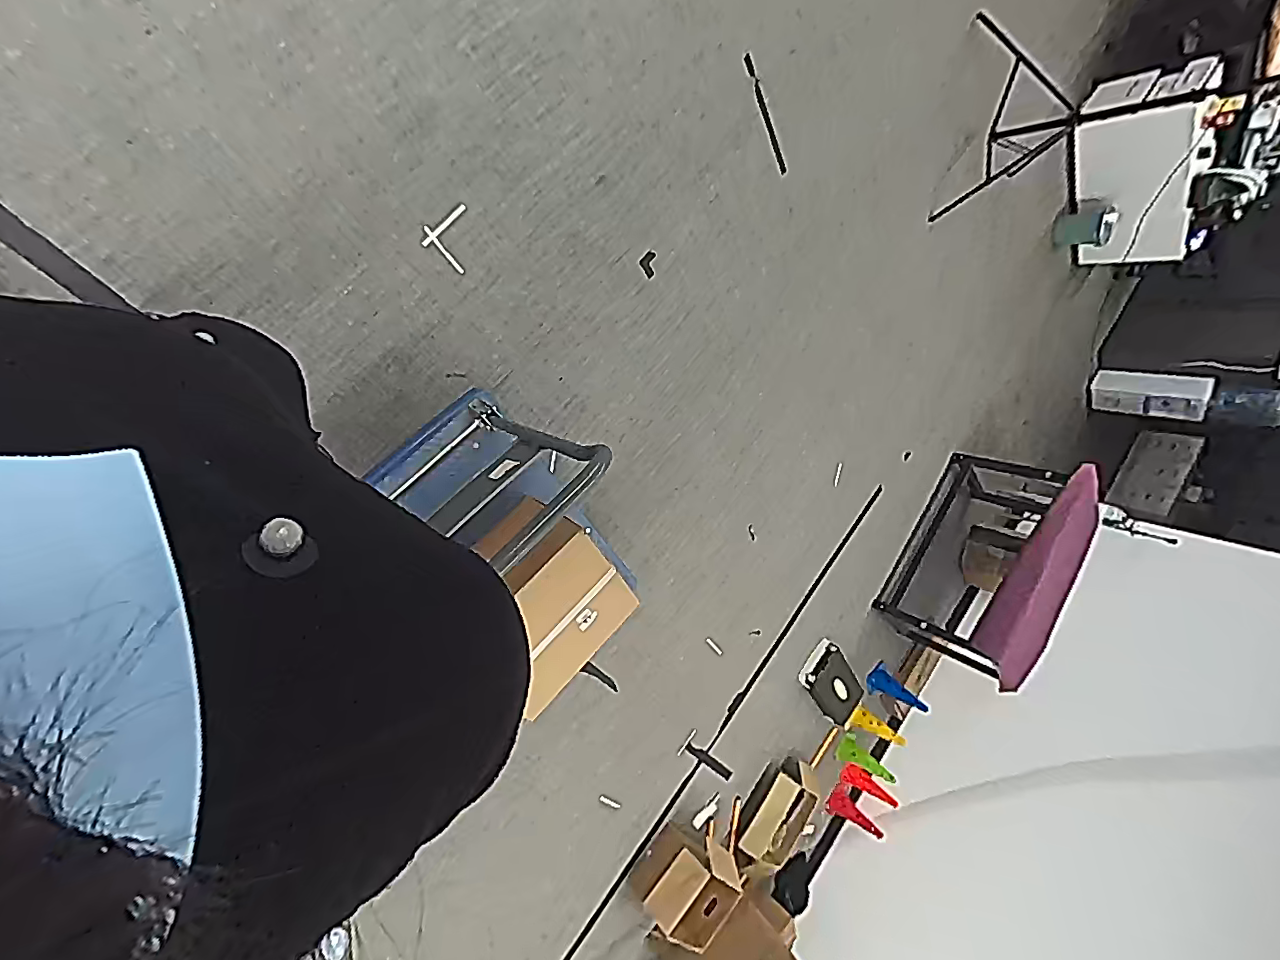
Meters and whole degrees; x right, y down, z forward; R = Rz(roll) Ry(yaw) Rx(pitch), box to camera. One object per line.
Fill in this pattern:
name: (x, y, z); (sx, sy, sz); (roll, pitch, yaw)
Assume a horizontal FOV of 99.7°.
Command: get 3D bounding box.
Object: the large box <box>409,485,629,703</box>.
large box: (-0.315, 0.283, 1.425); (0.408, 0.320, 0.320); (-46, 128, -19)
